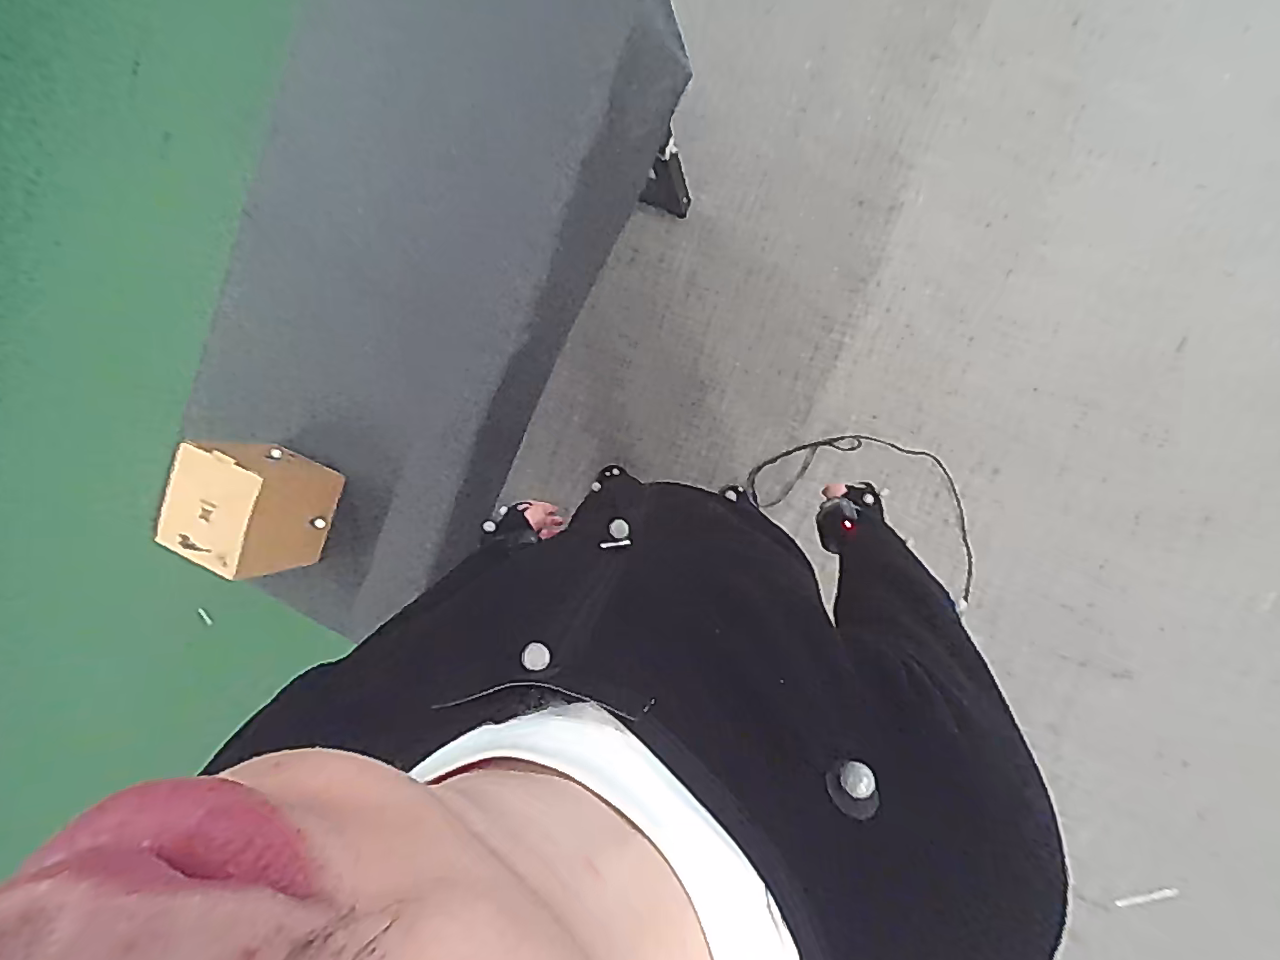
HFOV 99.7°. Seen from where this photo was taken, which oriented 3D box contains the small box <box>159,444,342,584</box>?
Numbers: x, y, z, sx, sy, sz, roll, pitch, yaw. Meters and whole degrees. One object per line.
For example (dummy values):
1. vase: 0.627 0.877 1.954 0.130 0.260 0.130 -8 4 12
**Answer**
1. small box: -0.651 0.052 0.925 0.168 0.176 0.179 22 94 12
